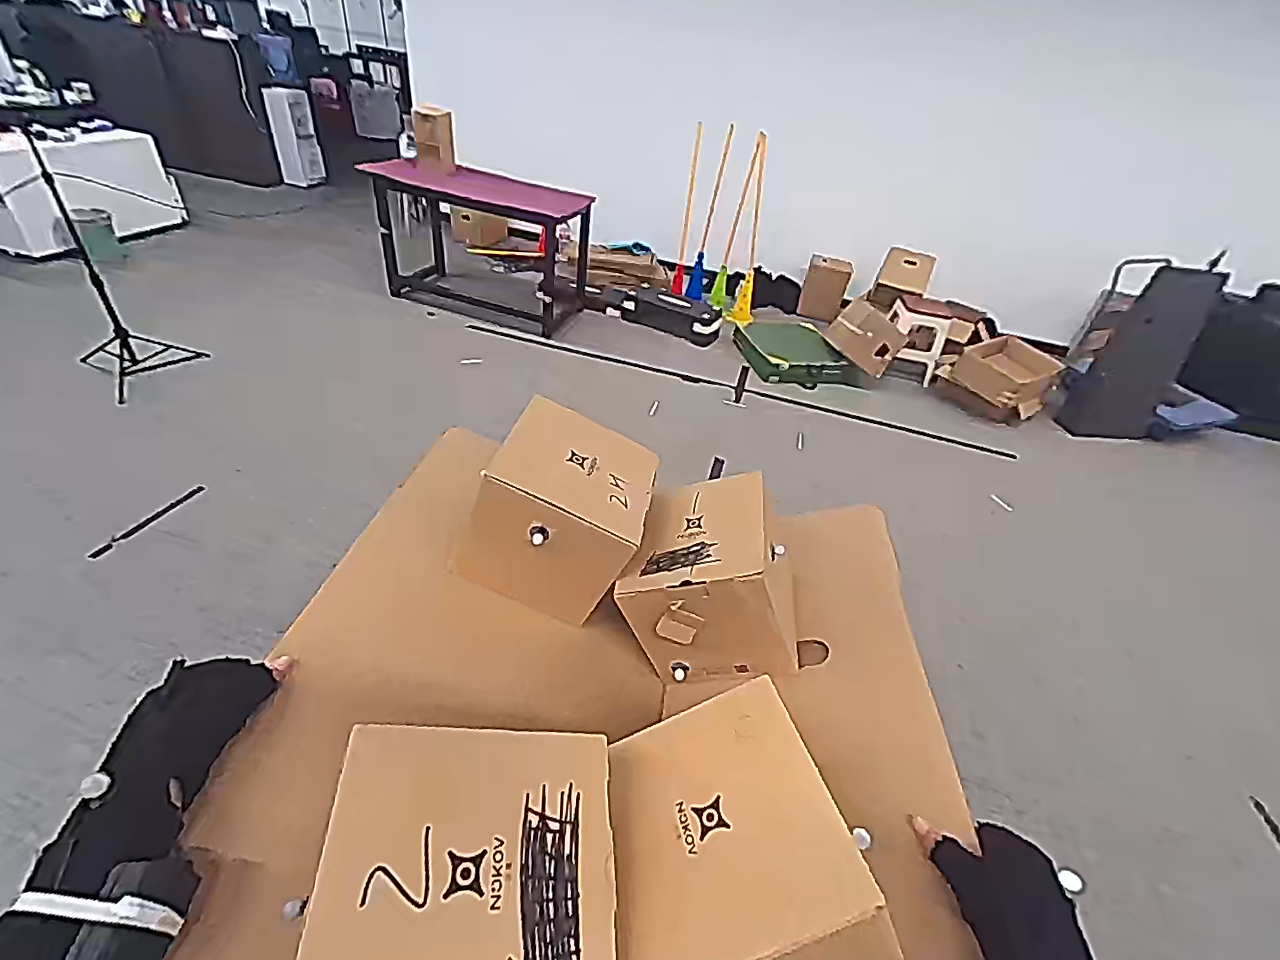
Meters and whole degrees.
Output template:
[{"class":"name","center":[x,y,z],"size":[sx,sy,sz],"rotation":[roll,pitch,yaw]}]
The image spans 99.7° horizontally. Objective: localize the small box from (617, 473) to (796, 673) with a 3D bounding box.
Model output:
[{"class":"small box","center":[0.092,0.121,0.668],"size":[0.168,0.176,0.179],"rotation":[-11,33,20]}]
